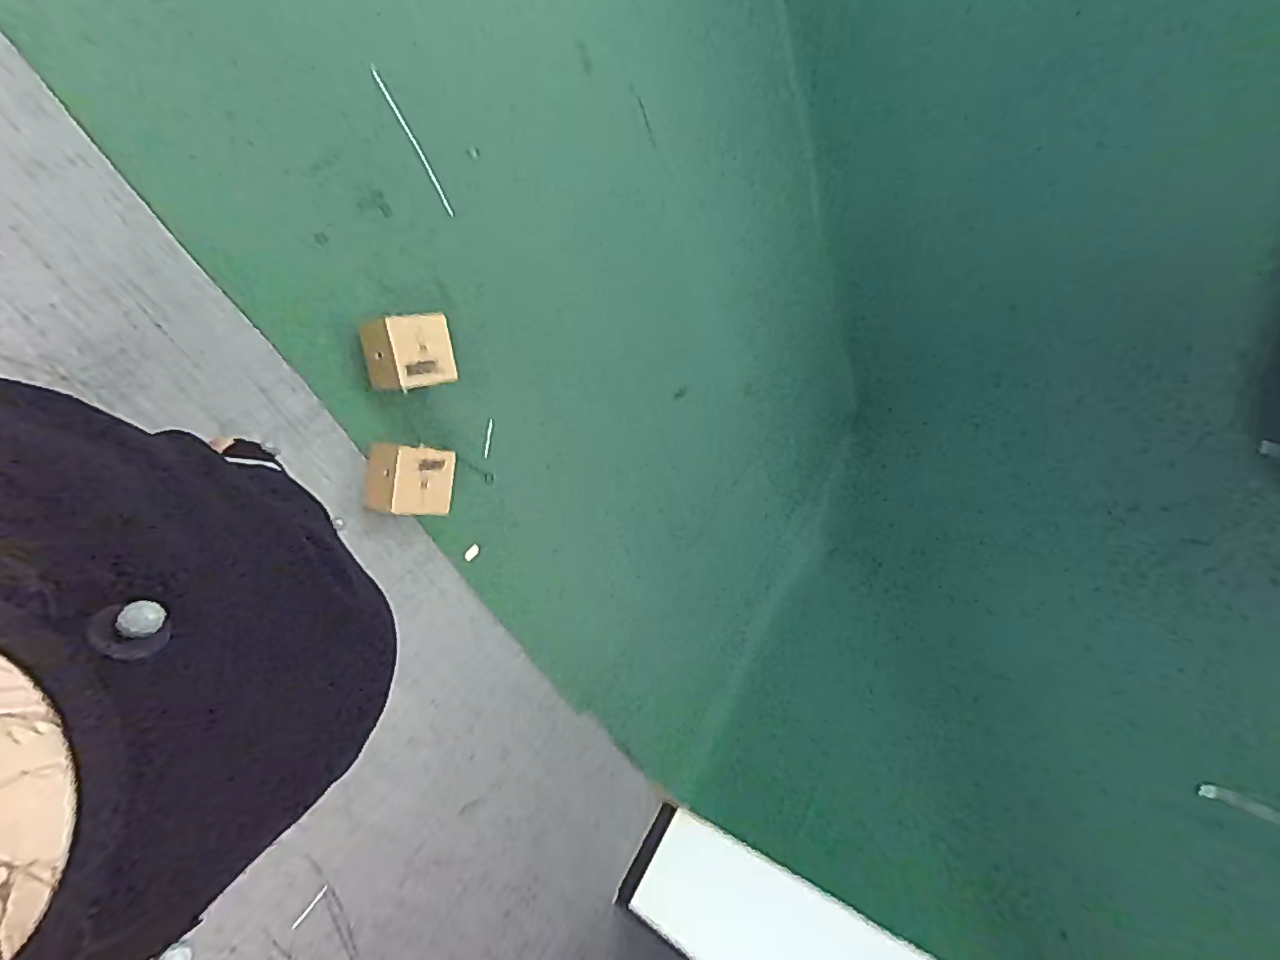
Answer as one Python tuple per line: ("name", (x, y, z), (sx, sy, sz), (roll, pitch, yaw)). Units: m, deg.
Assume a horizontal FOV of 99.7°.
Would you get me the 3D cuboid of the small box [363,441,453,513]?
("small box", (-0.644, -0.010, 1.496), (0.168, 0.176, 0.179), (6, 92, -50))
